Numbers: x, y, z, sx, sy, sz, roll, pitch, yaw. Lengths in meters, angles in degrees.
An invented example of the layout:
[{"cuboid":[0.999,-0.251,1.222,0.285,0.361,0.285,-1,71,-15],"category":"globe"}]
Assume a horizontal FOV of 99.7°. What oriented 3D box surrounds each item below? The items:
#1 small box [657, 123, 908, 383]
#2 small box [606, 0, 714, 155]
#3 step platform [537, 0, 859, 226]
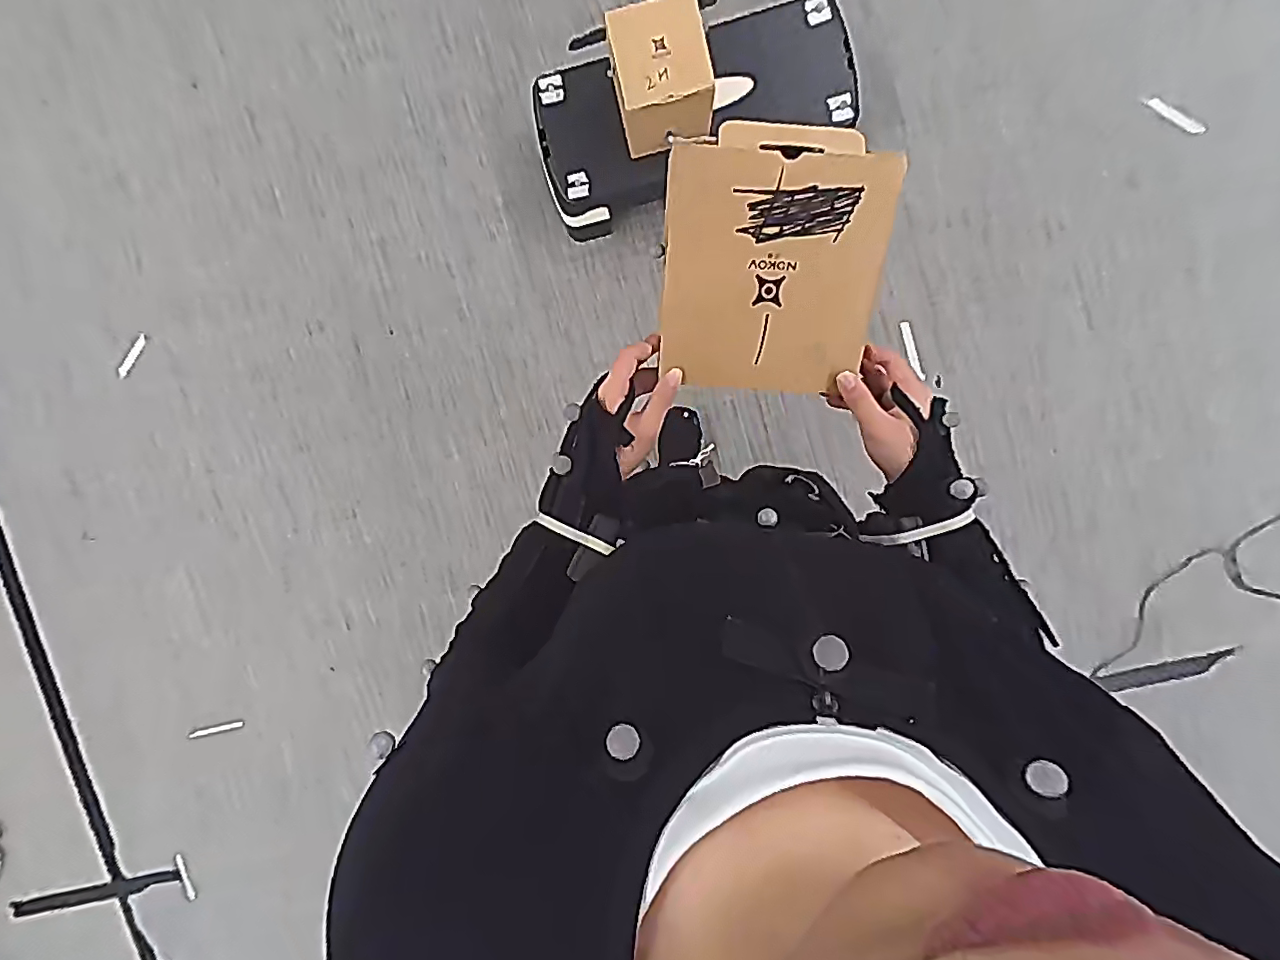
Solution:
[{"cuboid":[0.103,-0.199,0.483,0.168,0.176,0.179,4,117,0],"category":"small box"},{"cuboid":[0.038,-0.768,1.035,0.168,0.176,0.179,-13,94,4],"category":"small box"},{"cuboid":[0.121,-0.820,1.202,0.684,0.204,0.286,-15,94,4],"category":"step platform"}]
